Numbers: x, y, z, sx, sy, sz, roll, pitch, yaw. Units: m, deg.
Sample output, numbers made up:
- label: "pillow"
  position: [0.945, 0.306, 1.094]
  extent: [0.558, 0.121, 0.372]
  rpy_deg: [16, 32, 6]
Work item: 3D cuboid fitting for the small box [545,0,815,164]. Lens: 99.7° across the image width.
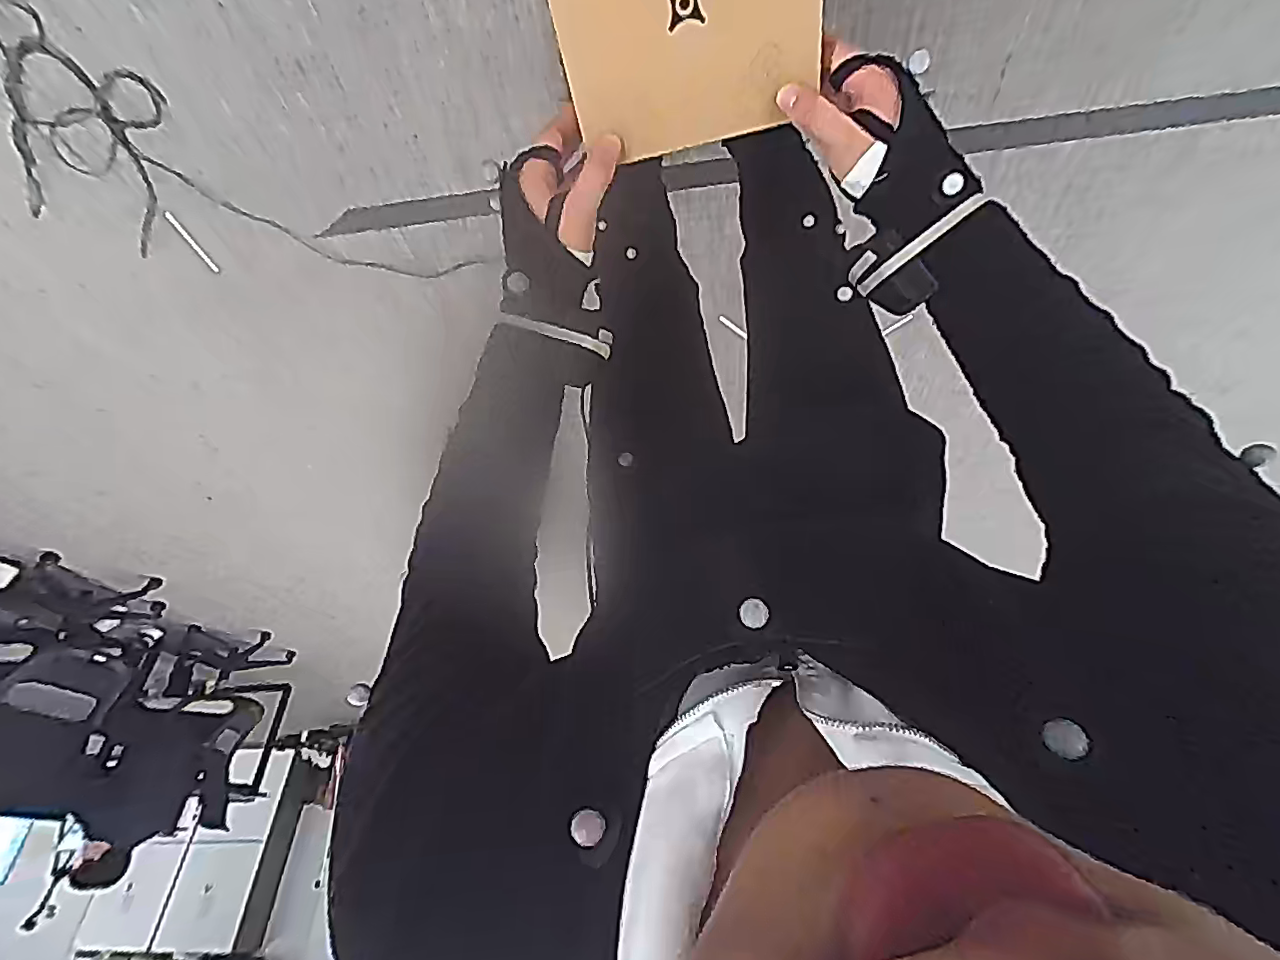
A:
- label: "small box"
  position: [0.020, -0.359, 0.377]
  extent: [0.168, 0.176, 0.179]
  rpy_deg: [-10, 137, 7]
